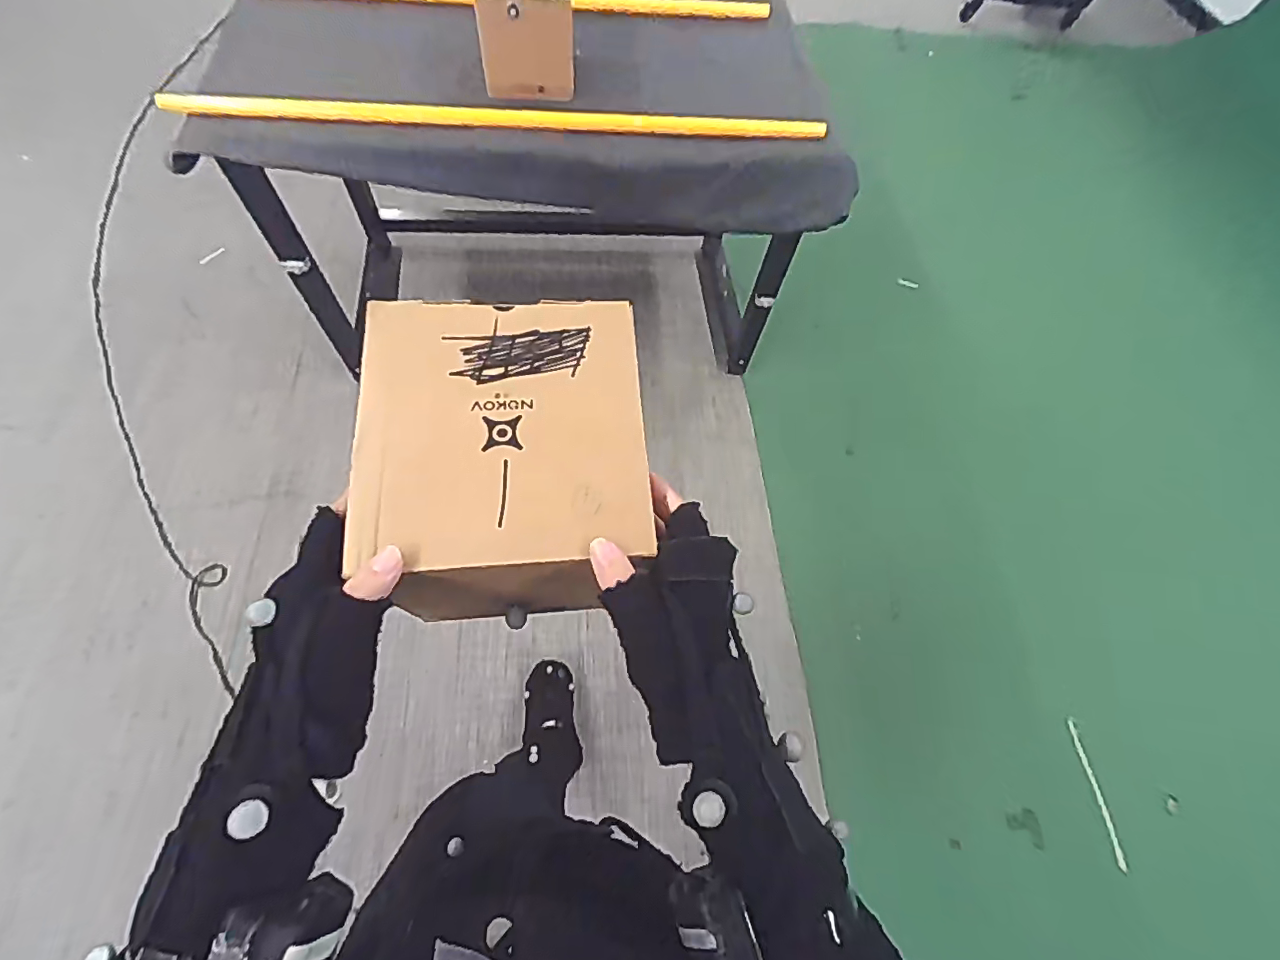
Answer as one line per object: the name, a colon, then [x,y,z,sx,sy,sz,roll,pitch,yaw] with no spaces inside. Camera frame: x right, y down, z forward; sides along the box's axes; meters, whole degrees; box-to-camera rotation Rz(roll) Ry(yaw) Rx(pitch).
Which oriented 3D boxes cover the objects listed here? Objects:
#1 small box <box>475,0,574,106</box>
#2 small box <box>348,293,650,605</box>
small box: [-0.214,-0.853,1.031,0.168,0.176,0.179,-3,63,-6]
small box: [-0.090,-0.013,0.401,0.168,0.176,0.179,-3,69,-7]
